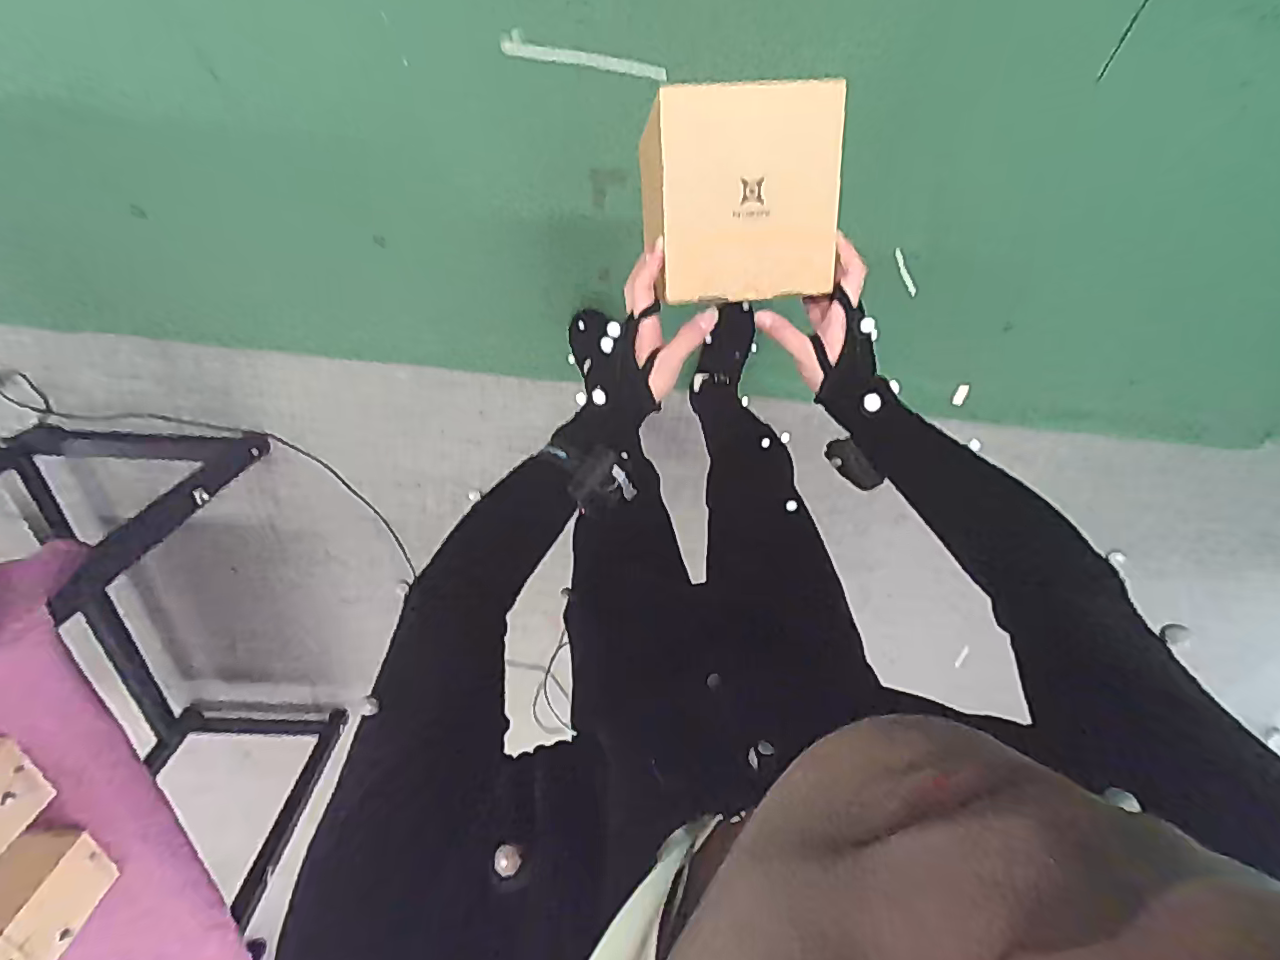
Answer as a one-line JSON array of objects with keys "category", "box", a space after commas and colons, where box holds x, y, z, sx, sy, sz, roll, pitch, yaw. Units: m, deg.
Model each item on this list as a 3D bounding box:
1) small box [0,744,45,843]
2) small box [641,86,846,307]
[{"category": "small box", "box": [-1.124, 0.528, 0.843, 0.179, 0.176, 0.168, 5, 120, -3]}, {"category": "small box", "box": [0.093, -0.274, 0.559, 0.168, 0.176, 0.179, -5, 110, -4]}]
